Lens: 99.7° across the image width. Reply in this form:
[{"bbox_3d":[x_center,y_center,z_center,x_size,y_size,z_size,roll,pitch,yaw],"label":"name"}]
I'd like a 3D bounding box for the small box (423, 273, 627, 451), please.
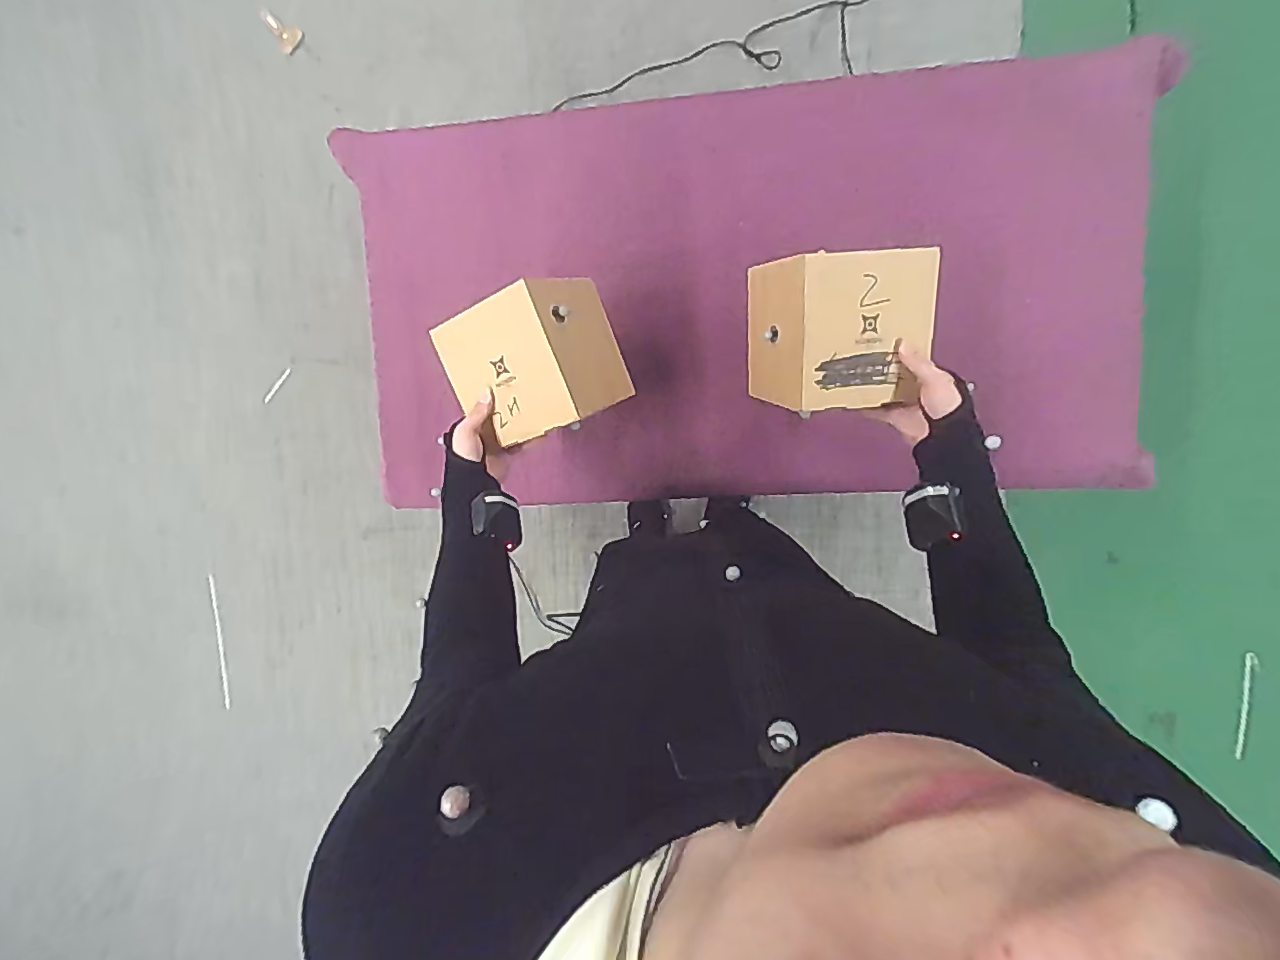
[{"bbox_3d":[-0.143,-0.159,0.721,0.168,0.176,0.179,-15,103,29],"label":"small box"}]
